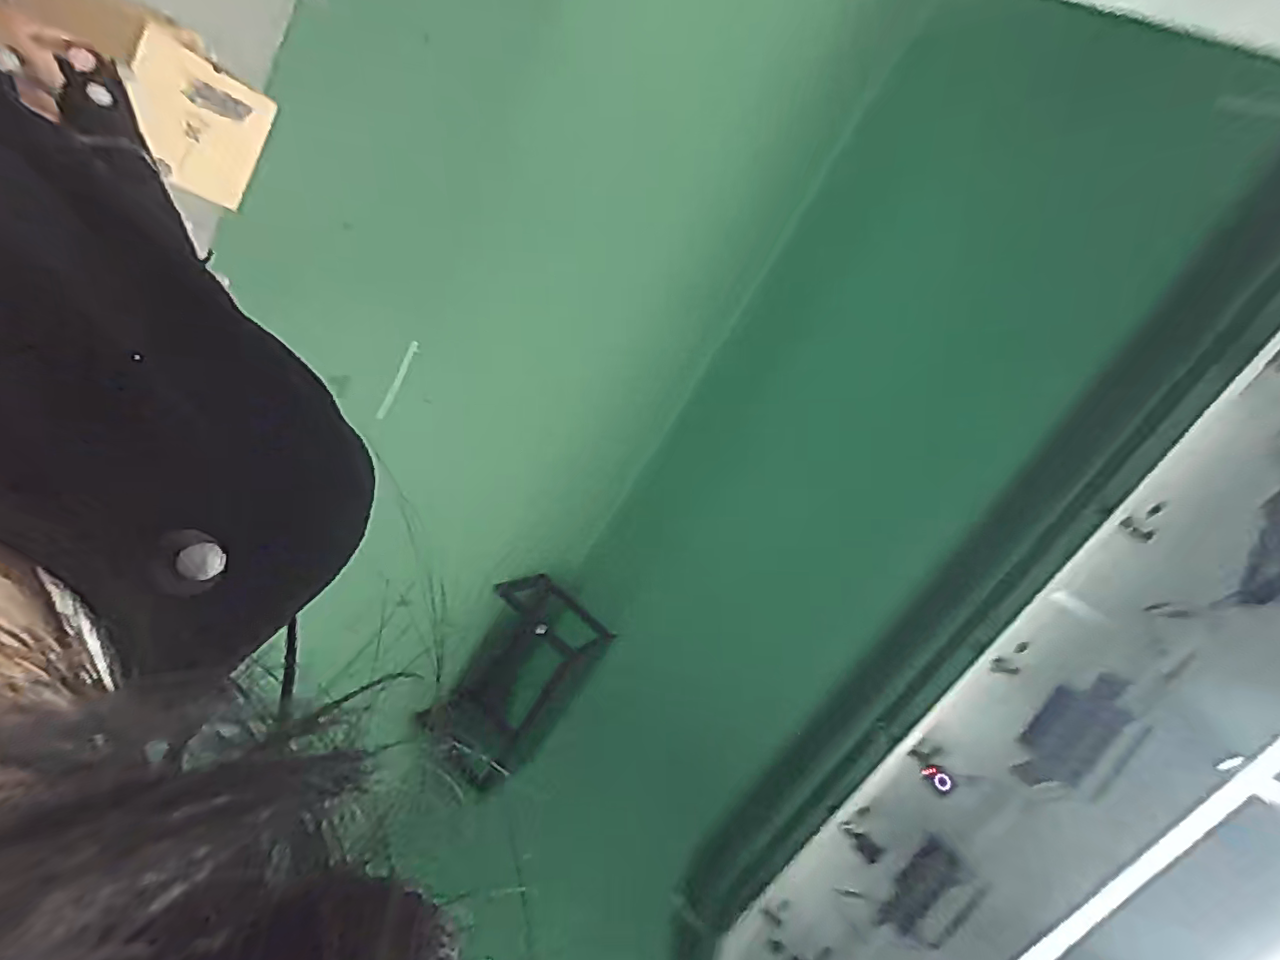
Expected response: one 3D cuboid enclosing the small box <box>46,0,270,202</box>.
[{"bbox_3d":[-0.689,-0.552,0.776,0.179,0.176,0.168,-55,162,12],"label":"small box"}]
